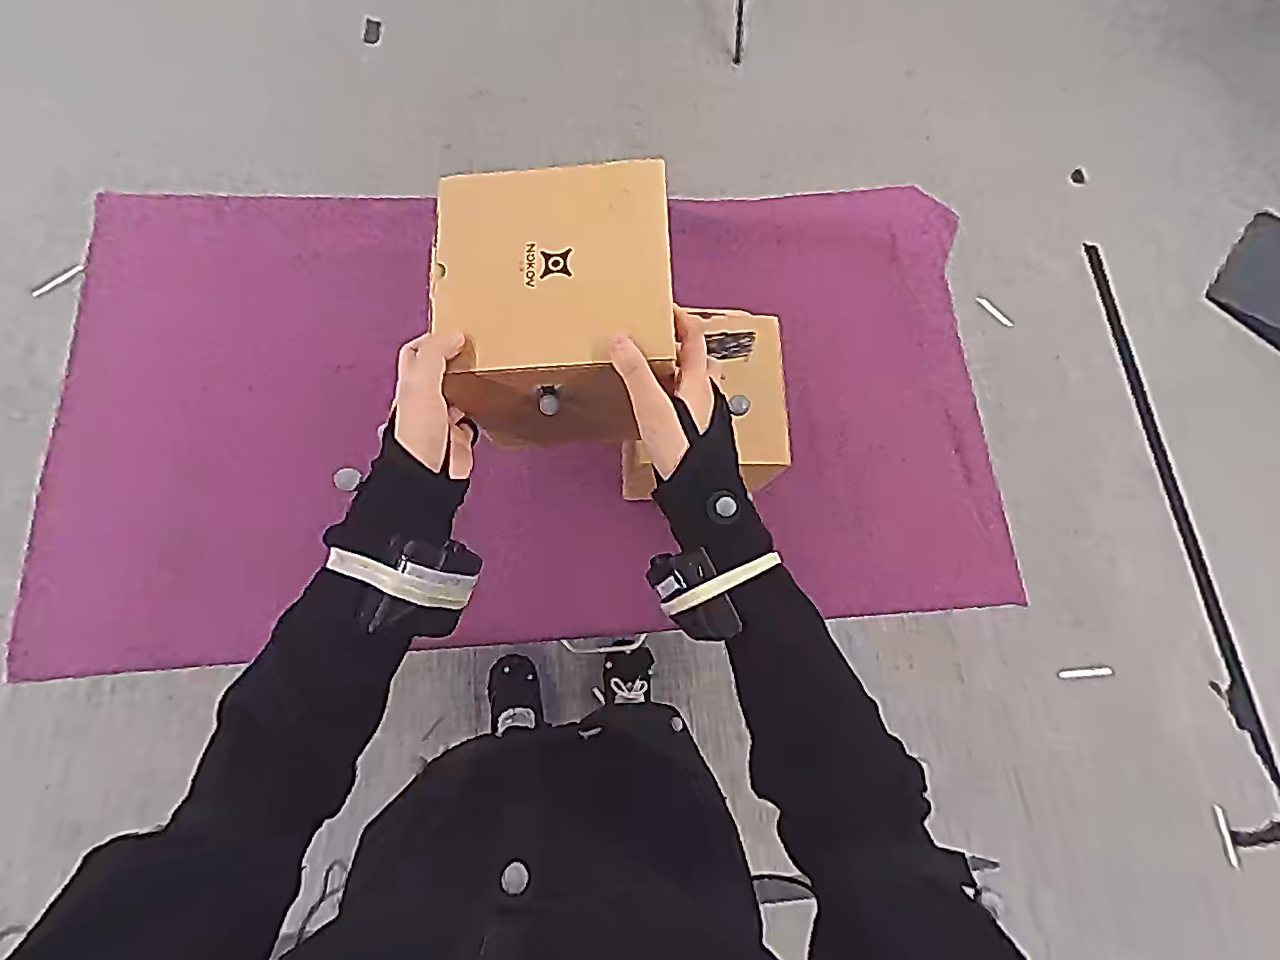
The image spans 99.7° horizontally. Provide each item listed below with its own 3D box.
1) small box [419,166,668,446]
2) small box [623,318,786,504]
[{"bbox_3d":[-0.066,-0.133,0.468,0.179,0.176,0.168,-4,76,4],"label":"small box"},{"bbox_3d":[0.065,-0.076,0.657,0.168,0.176,0.179,1,75,-5],"label":"small box"}]
